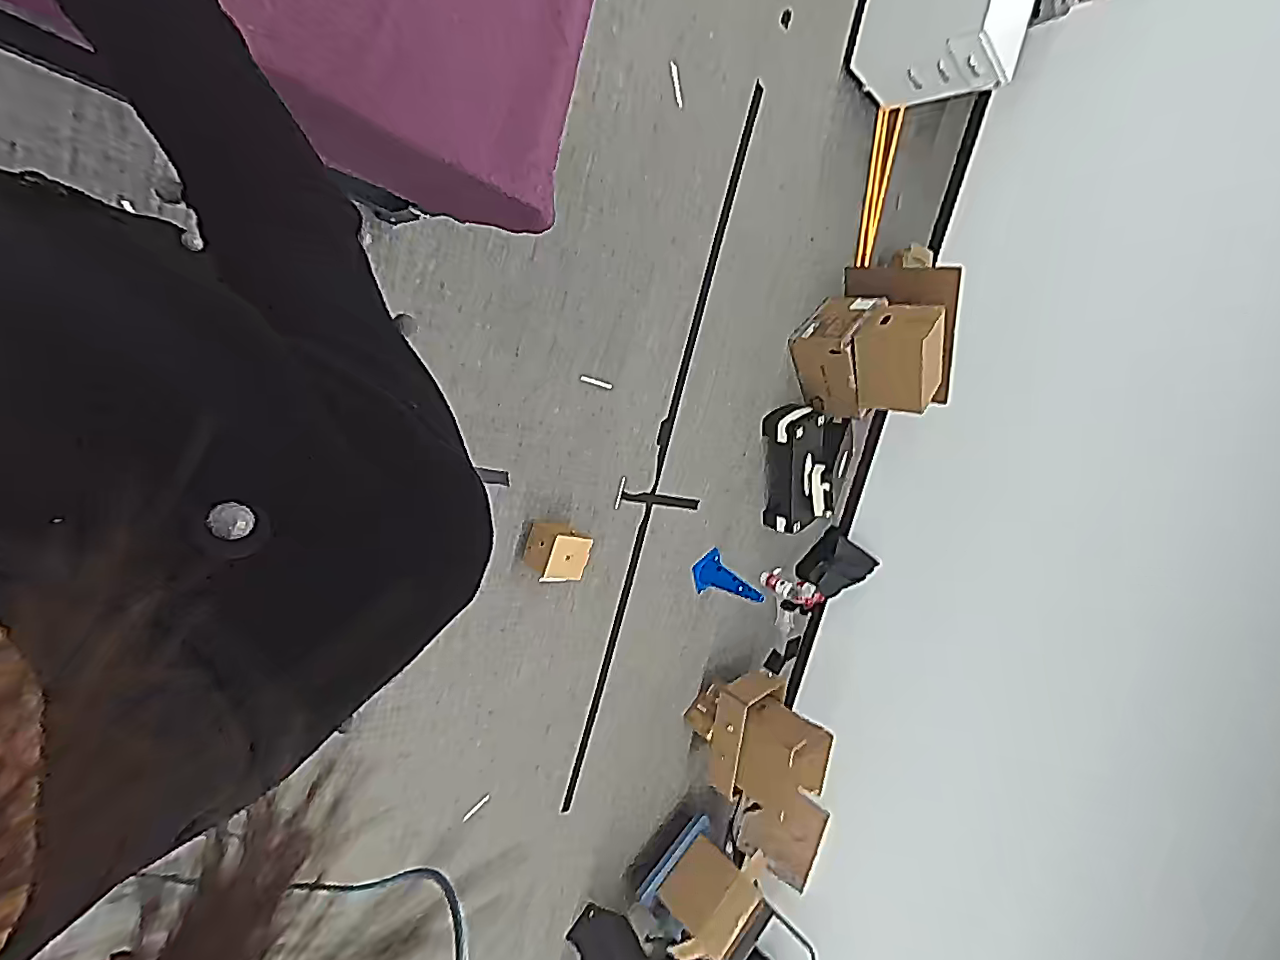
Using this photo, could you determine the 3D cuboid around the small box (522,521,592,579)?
[{"bbox_3d":[-0.317,0.260,2.032,0.179,0.176,0.168,14,96,-46],"label":"small box"}]
